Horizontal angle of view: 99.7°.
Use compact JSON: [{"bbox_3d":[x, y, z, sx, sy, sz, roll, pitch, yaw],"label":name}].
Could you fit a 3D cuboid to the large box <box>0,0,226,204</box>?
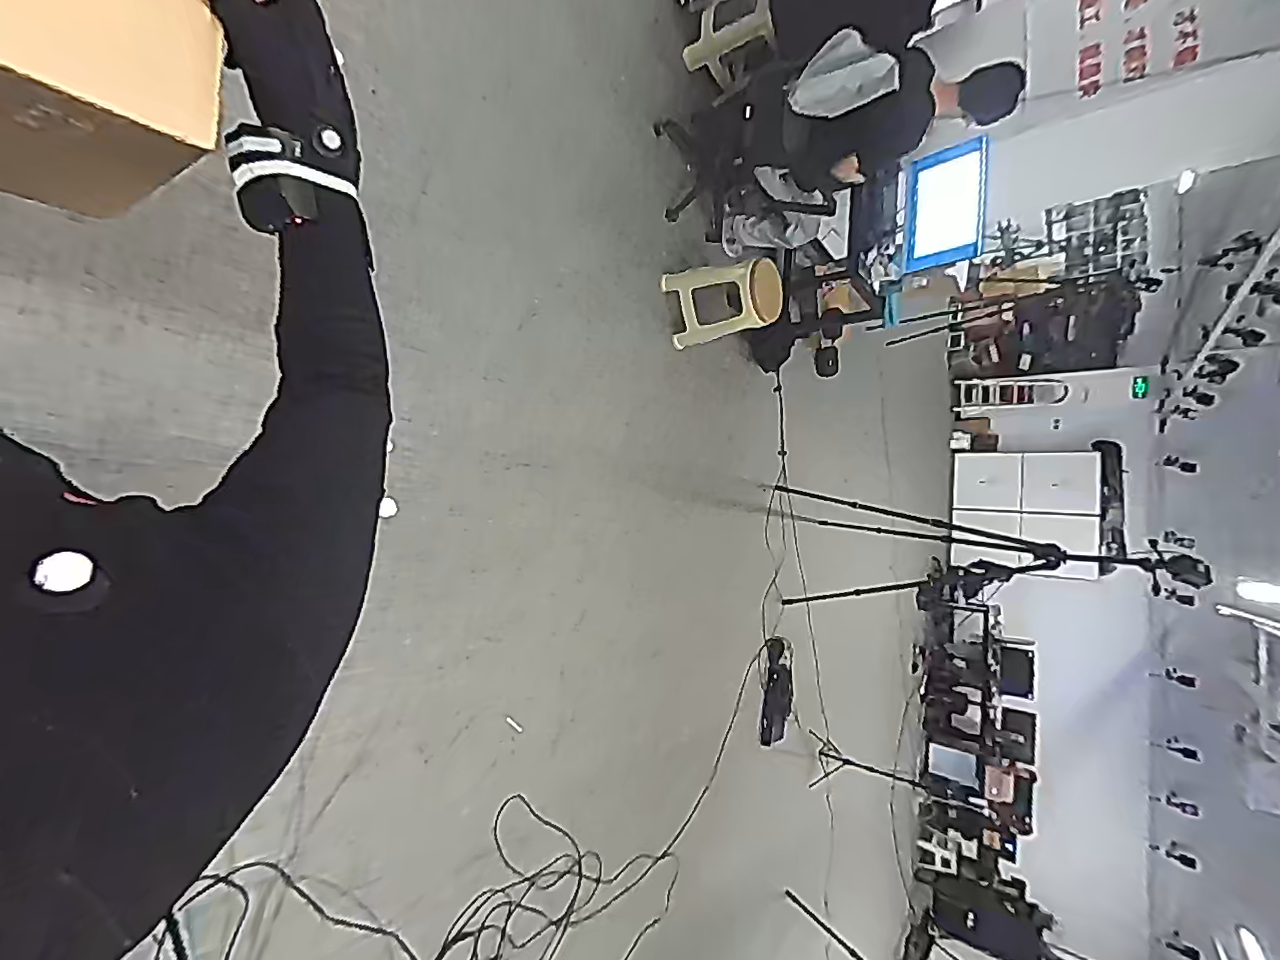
[{"bbox_3d":[-0.524,-0.412,0.301,0.408,0.320,0.320,0,97,-55],"label":"large box"}]
